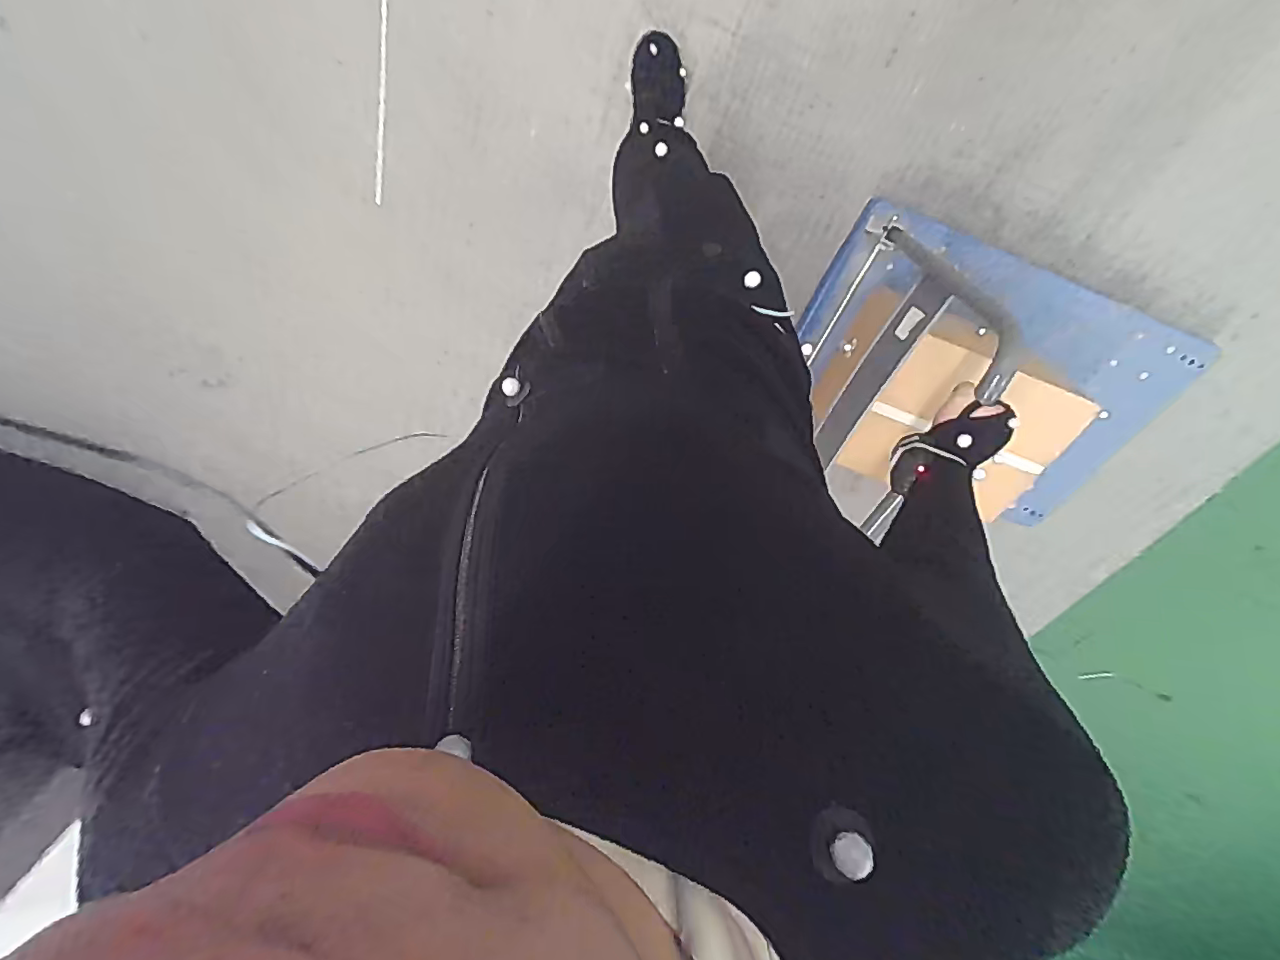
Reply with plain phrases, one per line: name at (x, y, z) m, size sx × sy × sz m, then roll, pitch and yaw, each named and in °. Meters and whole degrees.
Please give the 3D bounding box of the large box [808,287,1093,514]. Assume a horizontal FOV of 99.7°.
large box at (0.645, -0.186, 1.215) m, size 0.408 × 0.320 × 0.320 m, roll 20°, pitch 126°, yaw -5°
